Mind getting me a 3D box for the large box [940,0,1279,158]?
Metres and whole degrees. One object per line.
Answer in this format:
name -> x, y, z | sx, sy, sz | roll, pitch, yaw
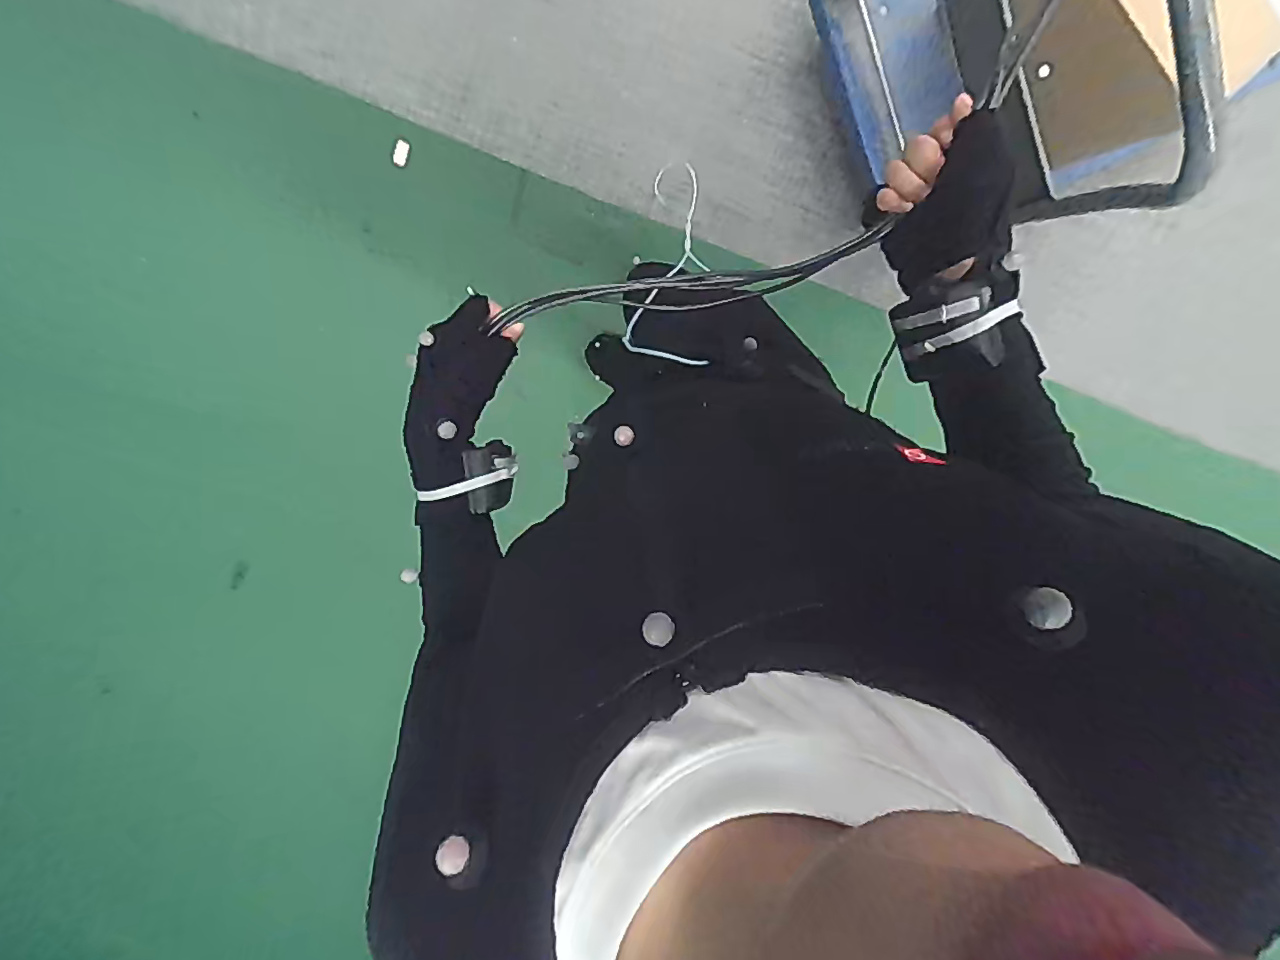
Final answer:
large box -> 0.825, -0.851, 0.918 | 0.408, 0.320, 0.320 | 40, 103, -13
